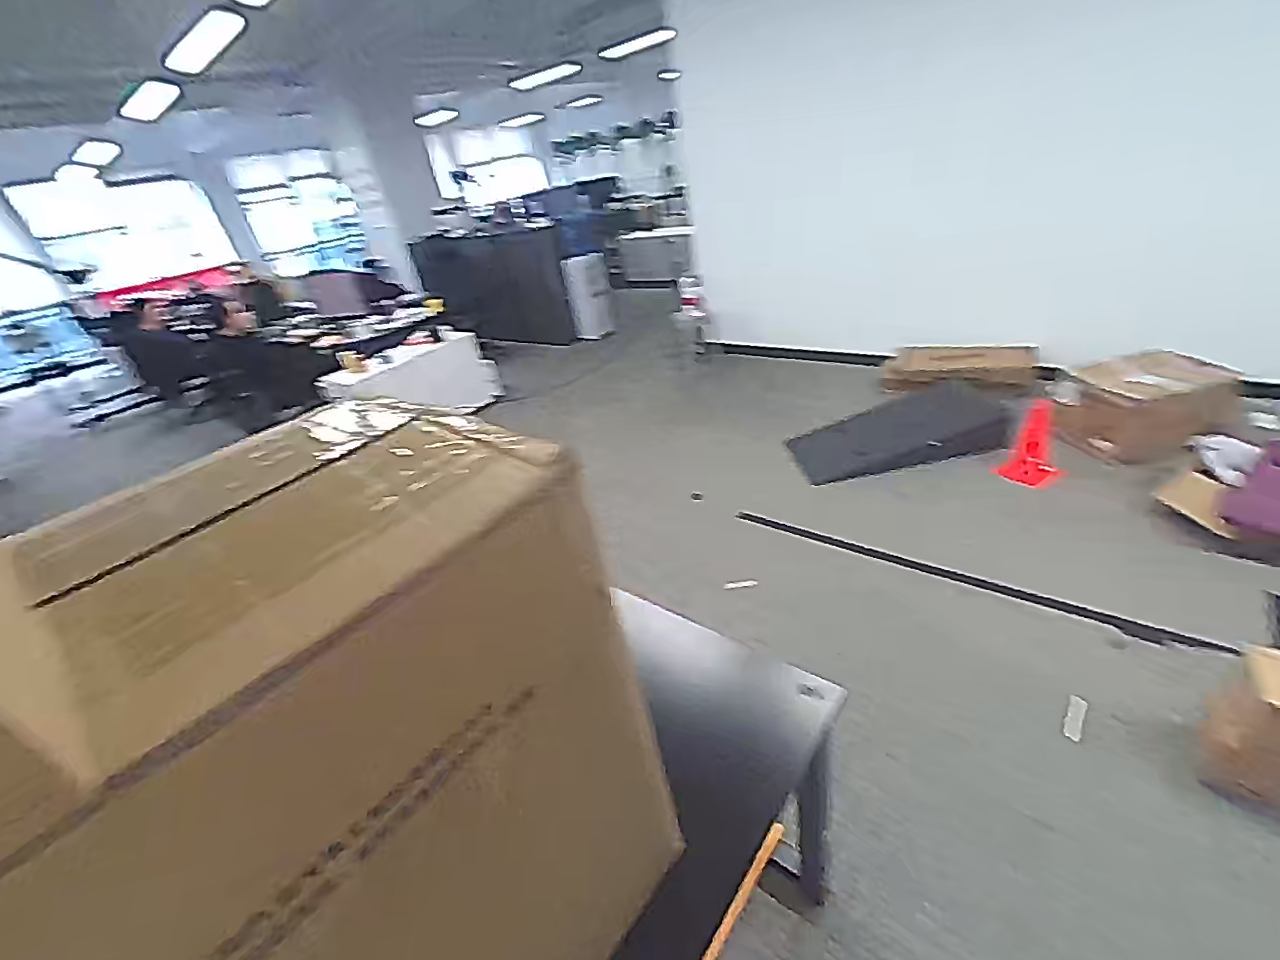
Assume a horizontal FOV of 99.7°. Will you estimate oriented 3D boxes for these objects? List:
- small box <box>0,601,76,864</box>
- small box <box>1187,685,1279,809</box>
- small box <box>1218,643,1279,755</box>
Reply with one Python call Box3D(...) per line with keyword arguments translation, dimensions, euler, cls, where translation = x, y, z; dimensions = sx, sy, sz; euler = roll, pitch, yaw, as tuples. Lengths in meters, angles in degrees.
Box3D(translation=(-0.363, 0.087, 0.189), dimensions=(0.179, 0.176, 0.168), euler=(18, 41, 36), cls="small box")
Box3D(translation=(1.464, 0.640, 1.303), dimensions=(0.168, 0.176, 0.179), euler=(10, 38, 33), cls="small box")
Box3D(translation=(1.448, 0.506, 1.208), dimensions=(0.168, 0.176, 0.179), euler=(9, 37, 32), cls="small box")
